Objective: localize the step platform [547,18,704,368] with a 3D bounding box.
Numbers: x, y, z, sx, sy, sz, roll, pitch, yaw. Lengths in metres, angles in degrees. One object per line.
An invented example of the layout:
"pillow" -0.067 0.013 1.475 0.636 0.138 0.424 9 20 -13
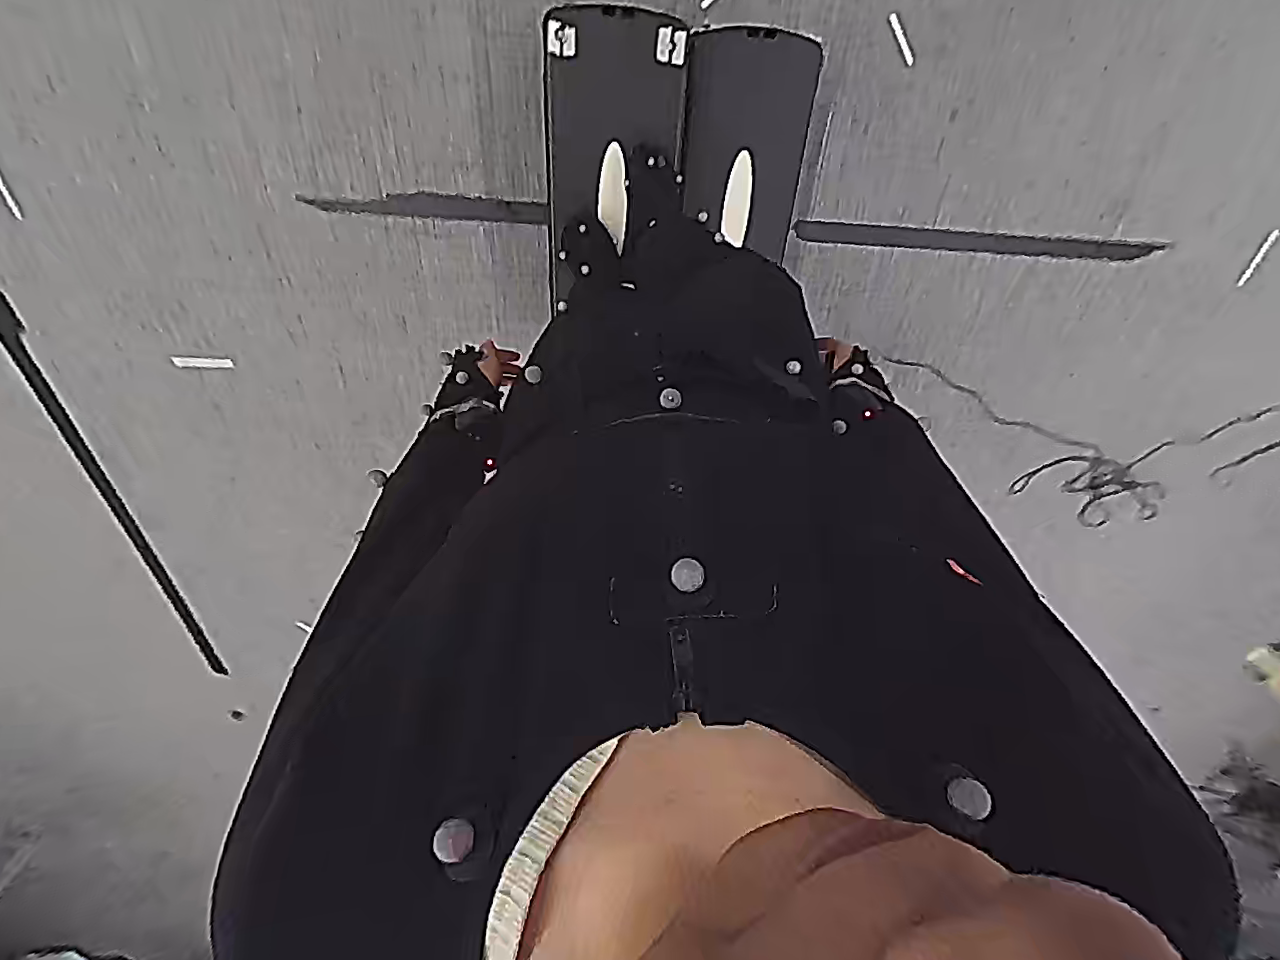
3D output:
"step platform" -0.055 -0.600 1.226 0.286 0.204 0.684 4 121 -7
